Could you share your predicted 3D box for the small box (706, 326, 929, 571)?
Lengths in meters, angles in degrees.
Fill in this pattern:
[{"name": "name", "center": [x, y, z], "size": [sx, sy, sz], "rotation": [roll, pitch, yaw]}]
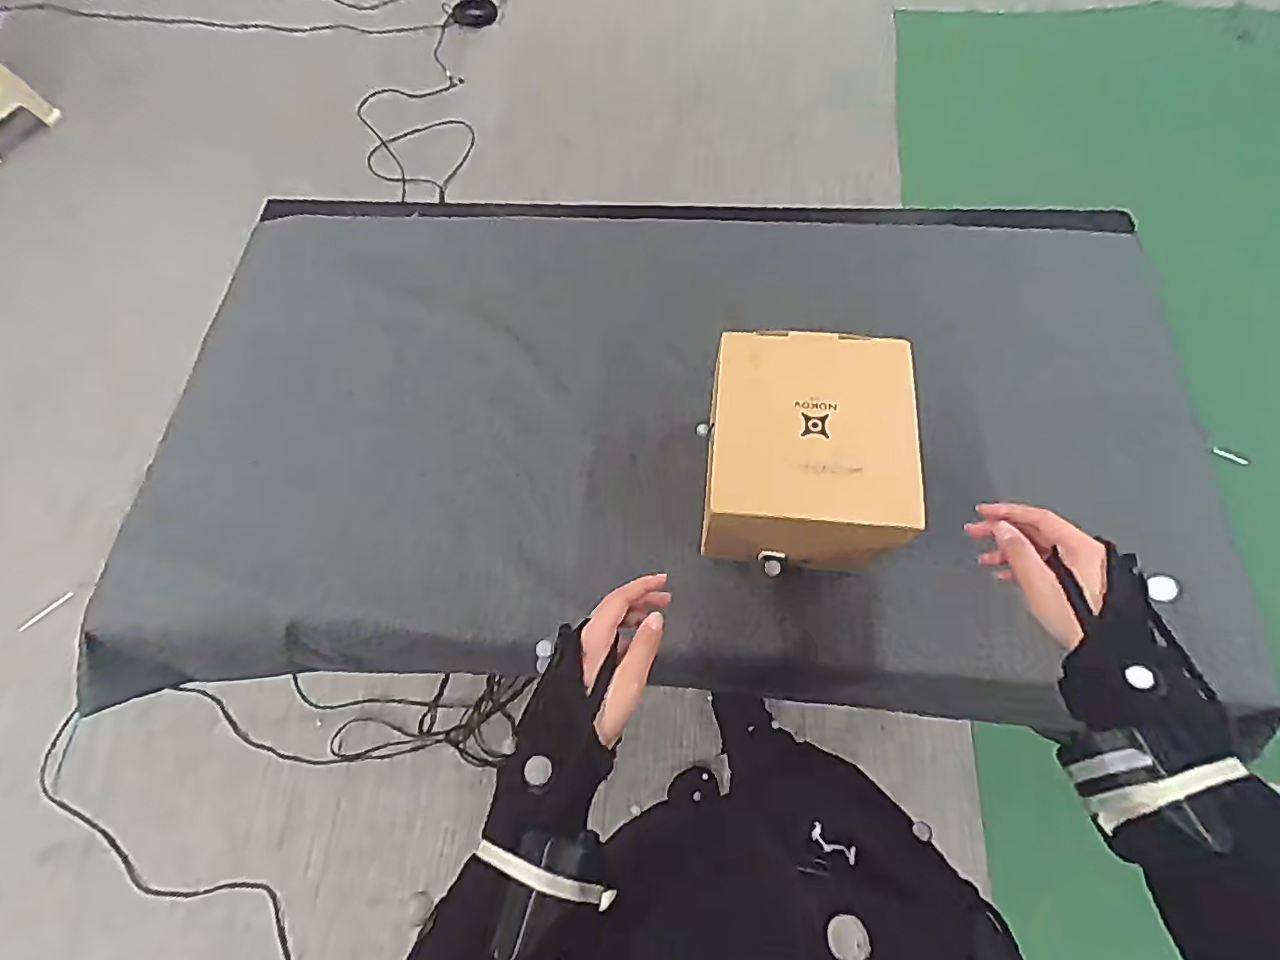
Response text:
[{"name": "small box", "center": [0.152, -0.022, 0.517], "size": [0.168, 0.176, 0.179], "rotation": [4, 70, 7]}]
